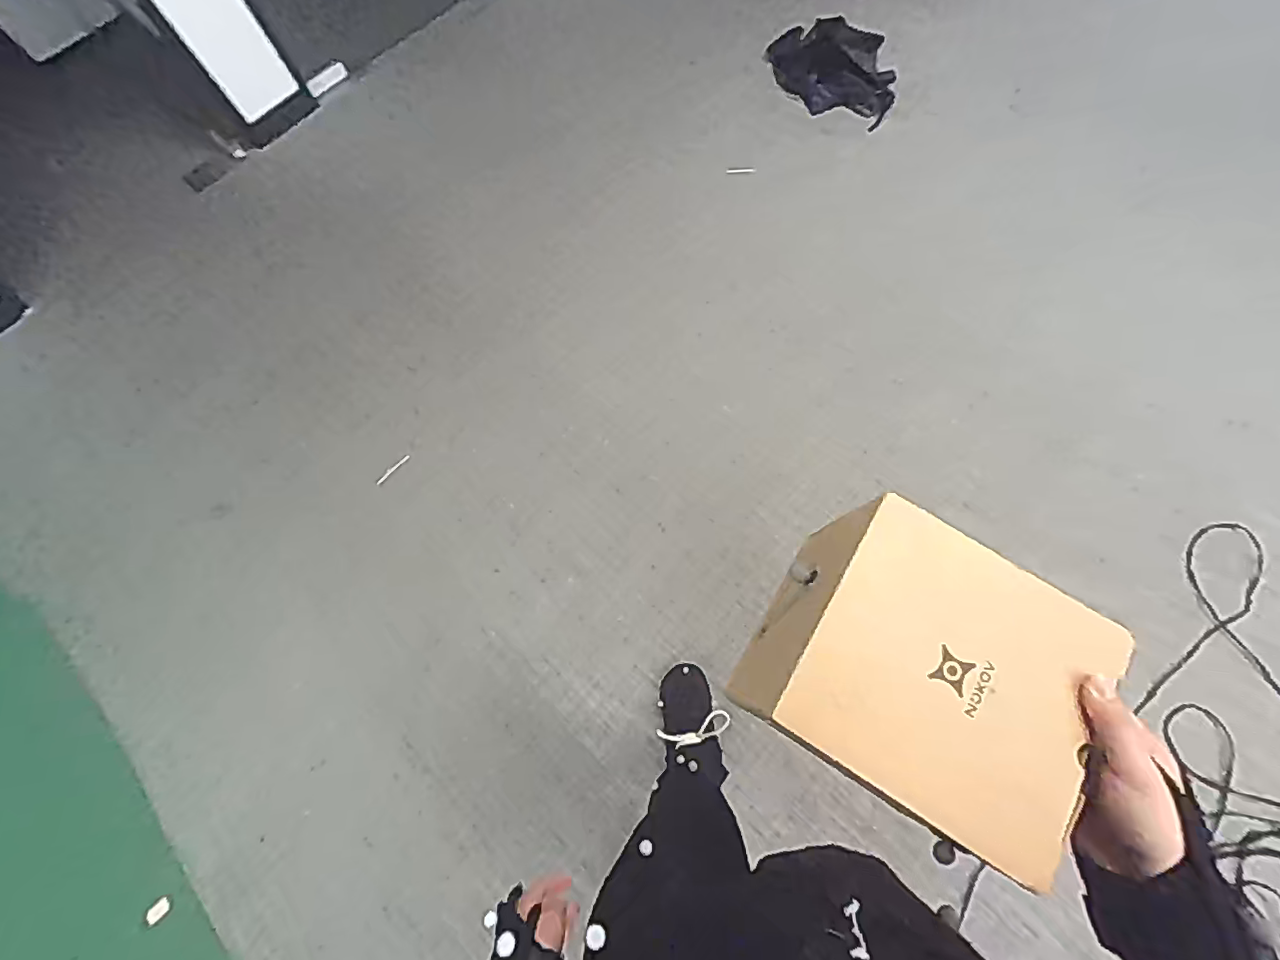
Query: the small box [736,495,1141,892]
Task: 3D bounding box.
[{"bbox_3d":[0.193,0.141,0.401,0.179,0.176,0.168,32,74,7],"label":"small box"}]
